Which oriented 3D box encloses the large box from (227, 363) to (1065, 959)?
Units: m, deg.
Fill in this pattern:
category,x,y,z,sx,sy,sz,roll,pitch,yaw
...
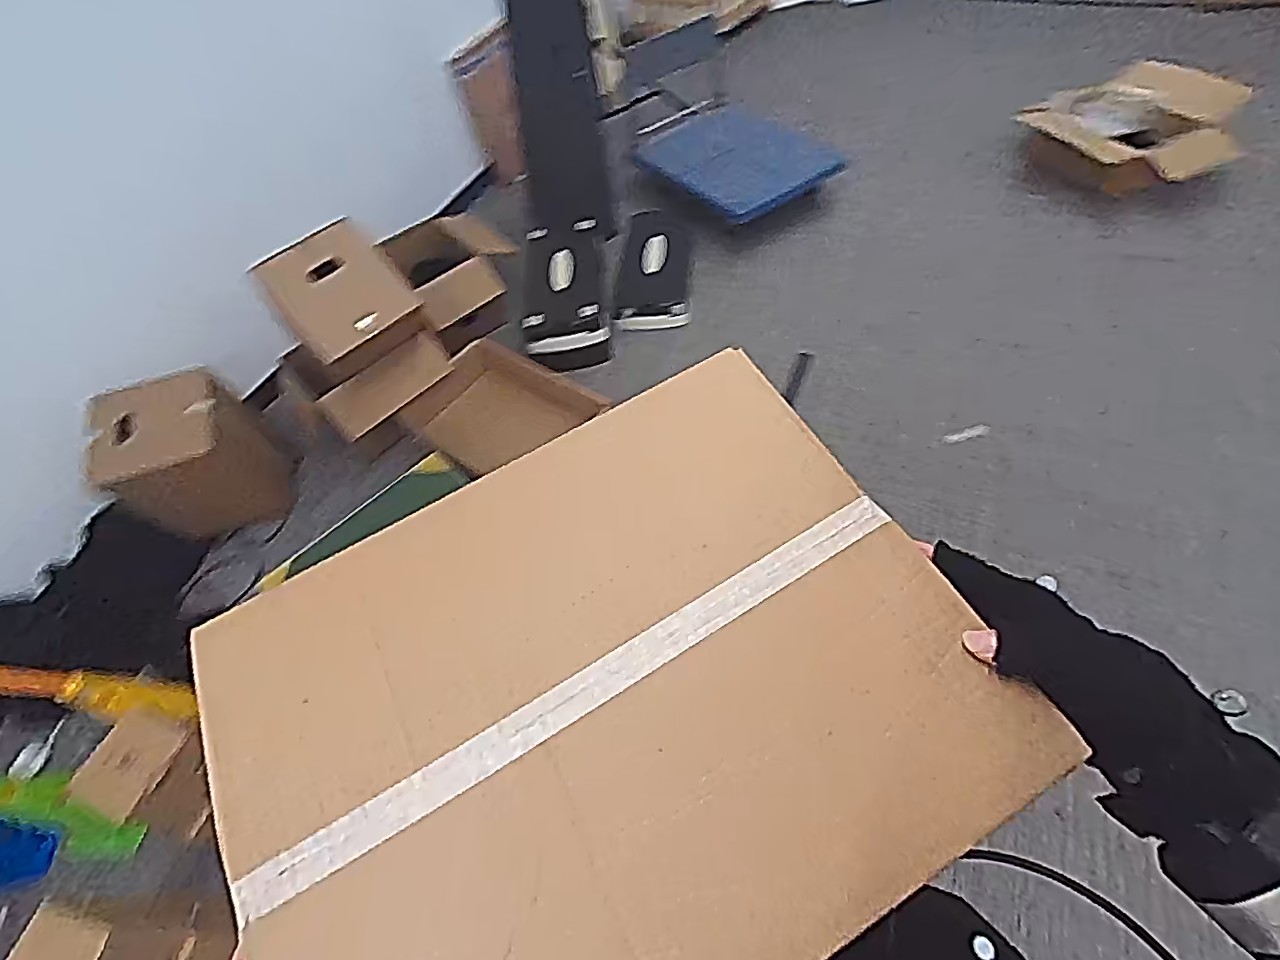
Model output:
category,x,y,z,sx,sy,sz,roll,pitch,yaw
large box,-0.006,0.185,0.446,0.408,0.320,0.320,-29,65,-8
